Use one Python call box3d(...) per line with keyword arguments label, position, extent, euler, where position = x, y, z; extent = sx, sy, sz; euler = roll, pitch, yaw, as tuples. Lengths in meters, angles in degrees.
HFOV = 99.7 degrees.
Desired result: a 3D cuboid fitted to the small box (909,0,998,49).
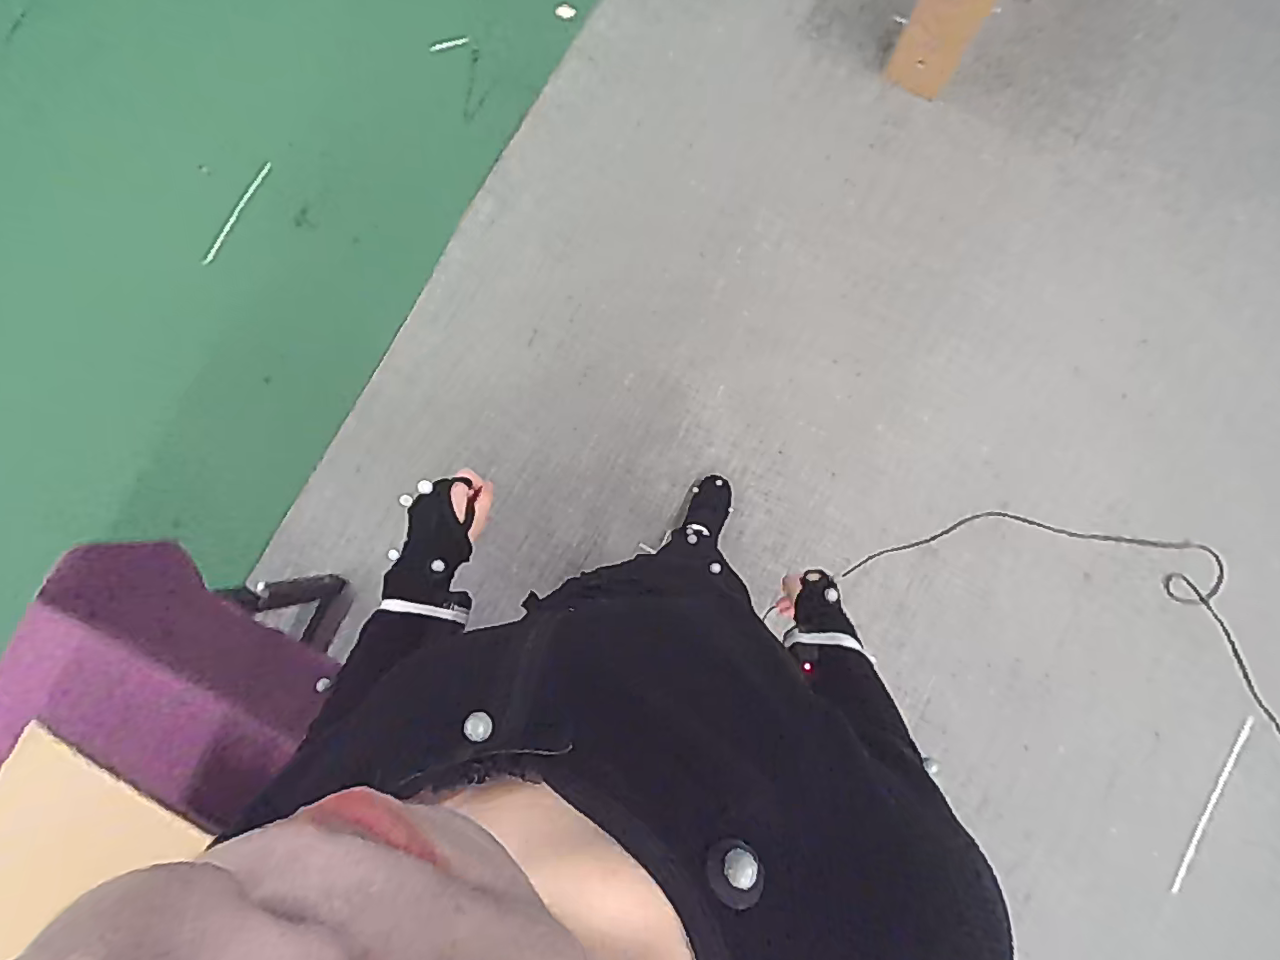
box3d(label="small box", position=(0.813, -1.239, 1.351), extent=(0.179, 0.176, 0.168), euler=(32, 88, 6))
